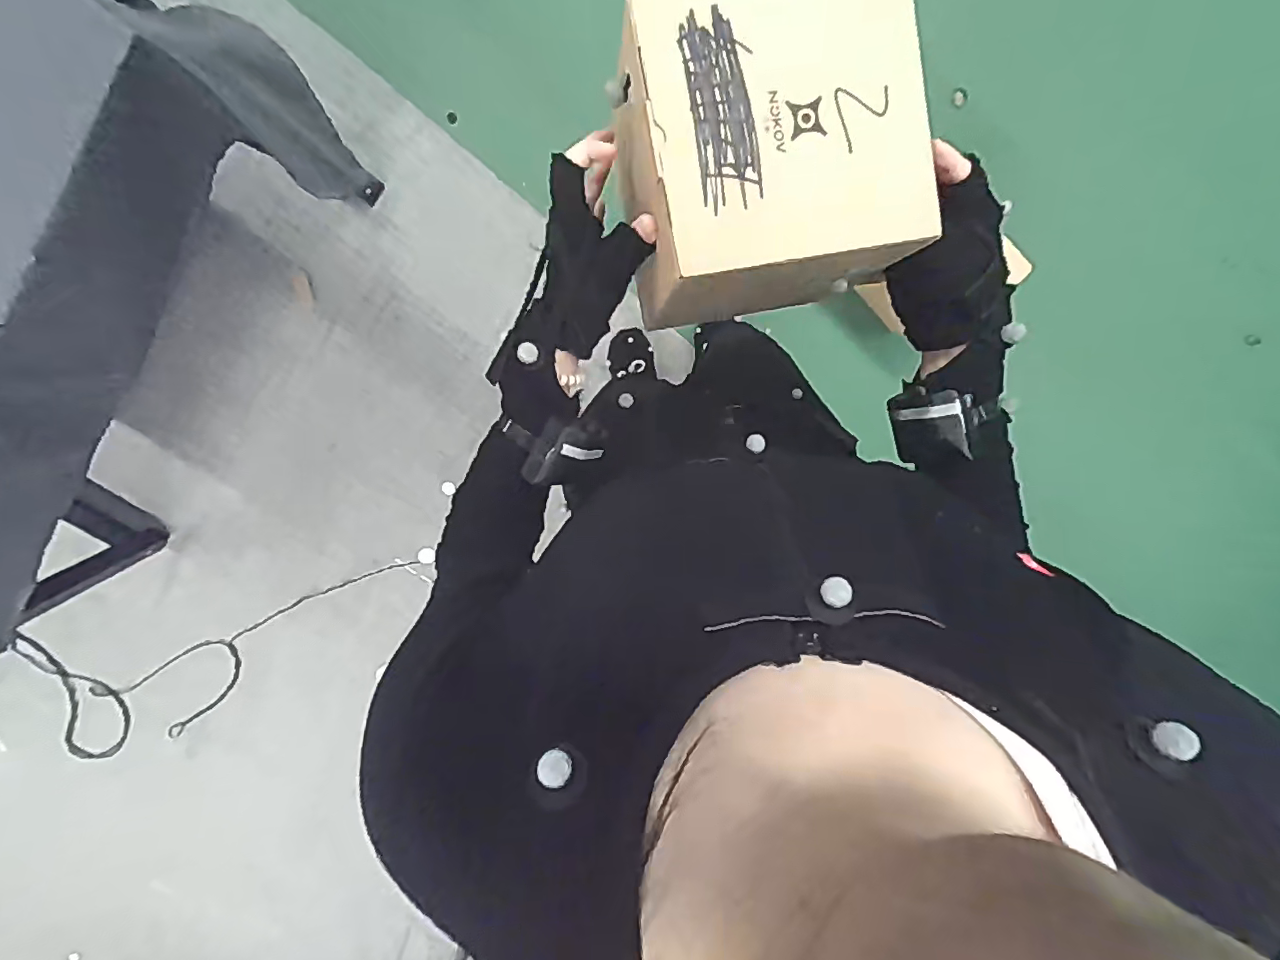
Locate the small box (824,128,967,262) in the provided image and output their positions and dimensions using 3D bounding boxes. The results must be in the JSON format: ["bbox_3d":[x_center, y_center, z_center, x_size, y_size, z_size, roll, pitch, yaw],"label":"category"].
[{"bbox_3d":[0.519,-0.575,1.122,0.179,0.176,0.168,43,101,-13],"label":"small box"}]

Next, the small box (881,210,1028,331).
[{"bbox_3d":[0.668,-0.448,1.169,0.179,0.176,0.168,37,101,-15],"label":"small box"}]
